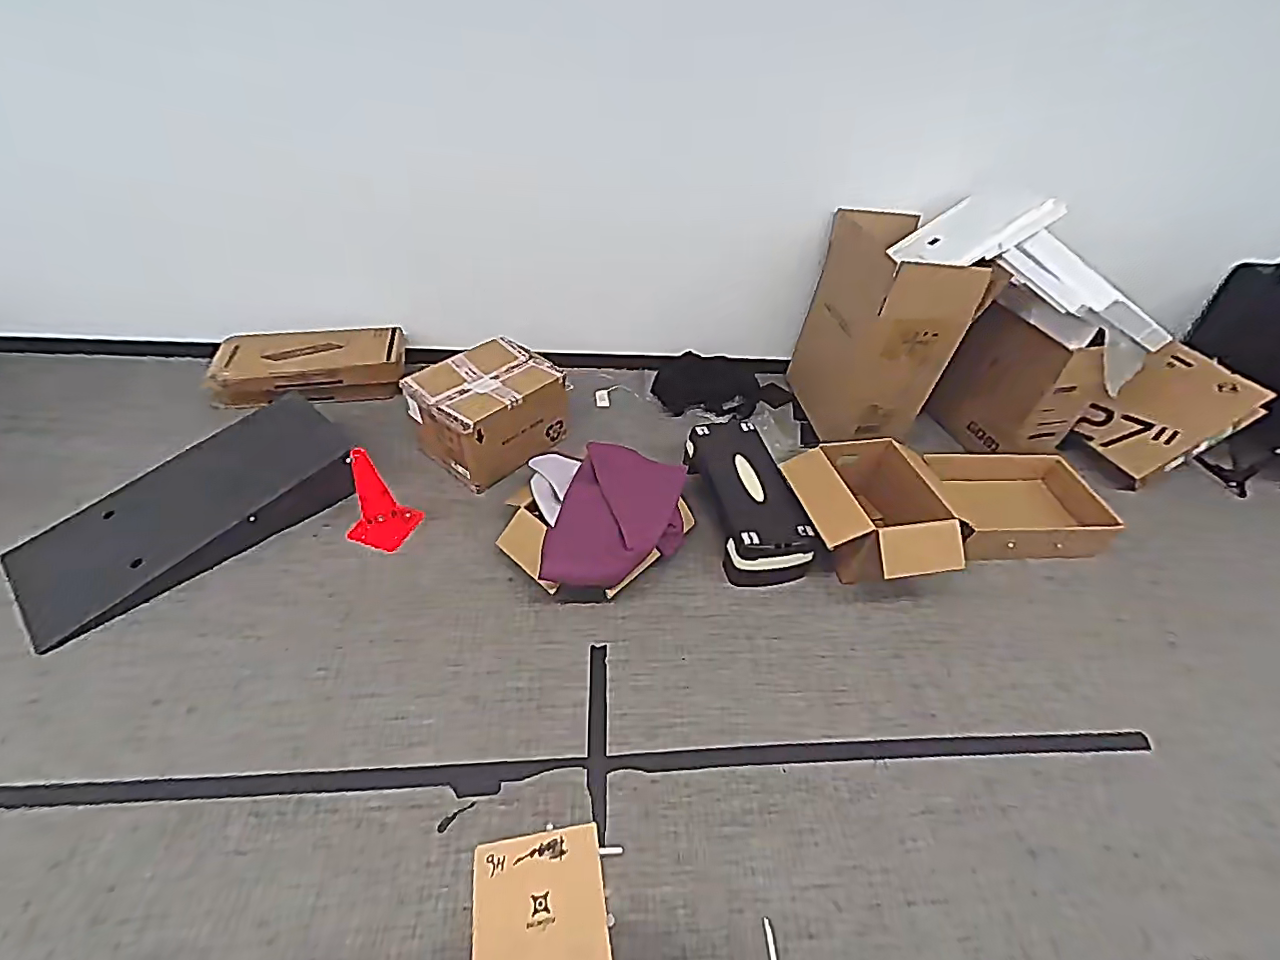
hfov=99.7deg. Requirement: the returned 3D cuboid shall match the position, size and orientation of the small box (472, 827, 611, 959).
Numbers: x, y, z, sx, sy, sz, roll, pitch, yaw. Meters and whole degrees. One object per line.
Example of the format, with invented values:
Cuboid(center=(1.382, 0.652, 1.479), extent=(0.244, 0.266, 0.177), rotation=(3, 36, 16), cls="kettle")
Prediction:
Cuboid(center=(-0.127, 0.599, 0.725), extent=(0.168, 0.176, 0.179), rotation=(-6, 46, -10), cls="small box")
